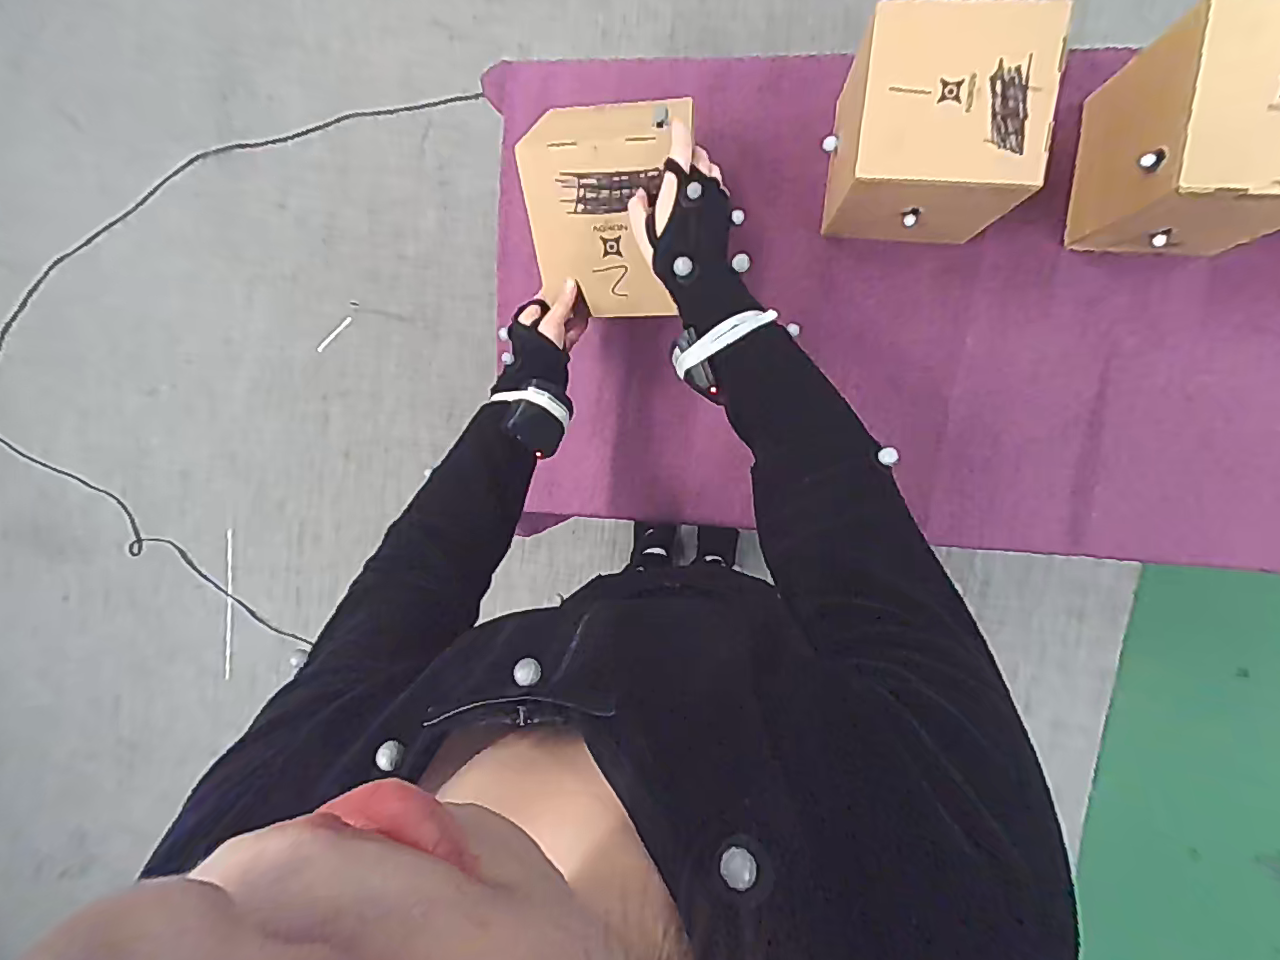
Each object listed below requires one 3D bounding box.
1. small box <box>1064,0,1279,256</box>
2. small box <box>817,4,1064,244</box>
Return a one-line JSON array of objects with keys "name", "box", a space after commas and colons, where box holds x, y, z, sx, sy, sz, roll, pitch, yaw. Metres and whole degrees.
[{"name": "small box", "box": [0.589, -0.353, 0.565, 0.168, 0.176, 0.179, 5, 97, 7]}, {"name": "small box", "box": [0.309, -0.373, 0.597, 0.179, 0.176, 0.168, 6, 96, 8]}]
